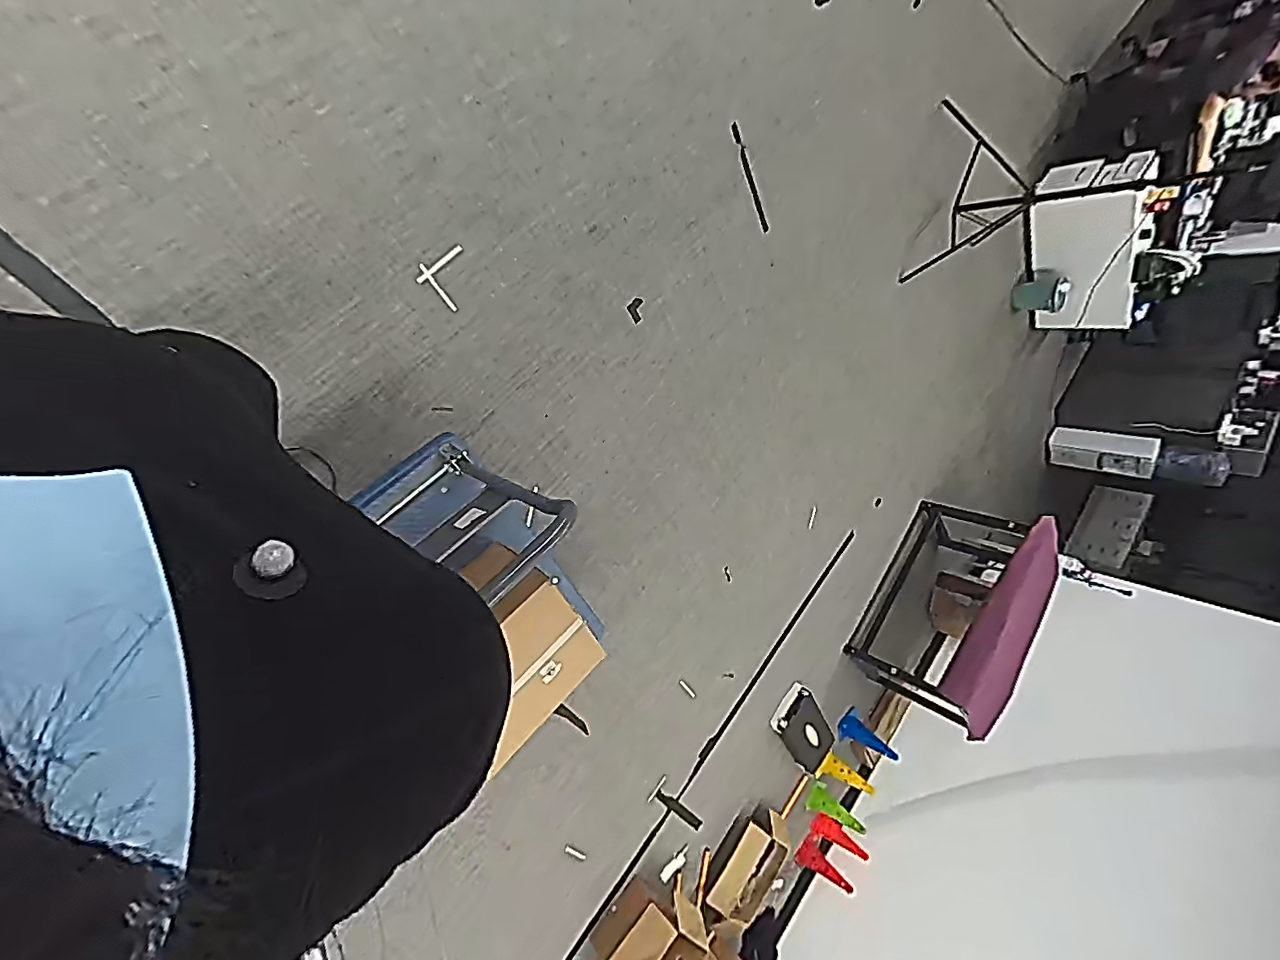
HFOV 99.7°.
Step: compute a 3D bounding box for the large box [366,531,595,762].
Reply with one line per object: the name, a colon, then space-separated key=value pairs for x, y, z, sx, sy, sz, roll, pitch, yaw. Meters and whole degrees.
large box: x=-0.403 y=0.403 z=1.386 sx=0.408 sy=0.320 sz=0.320 roll=-44 pitch=127 yaw=-23
